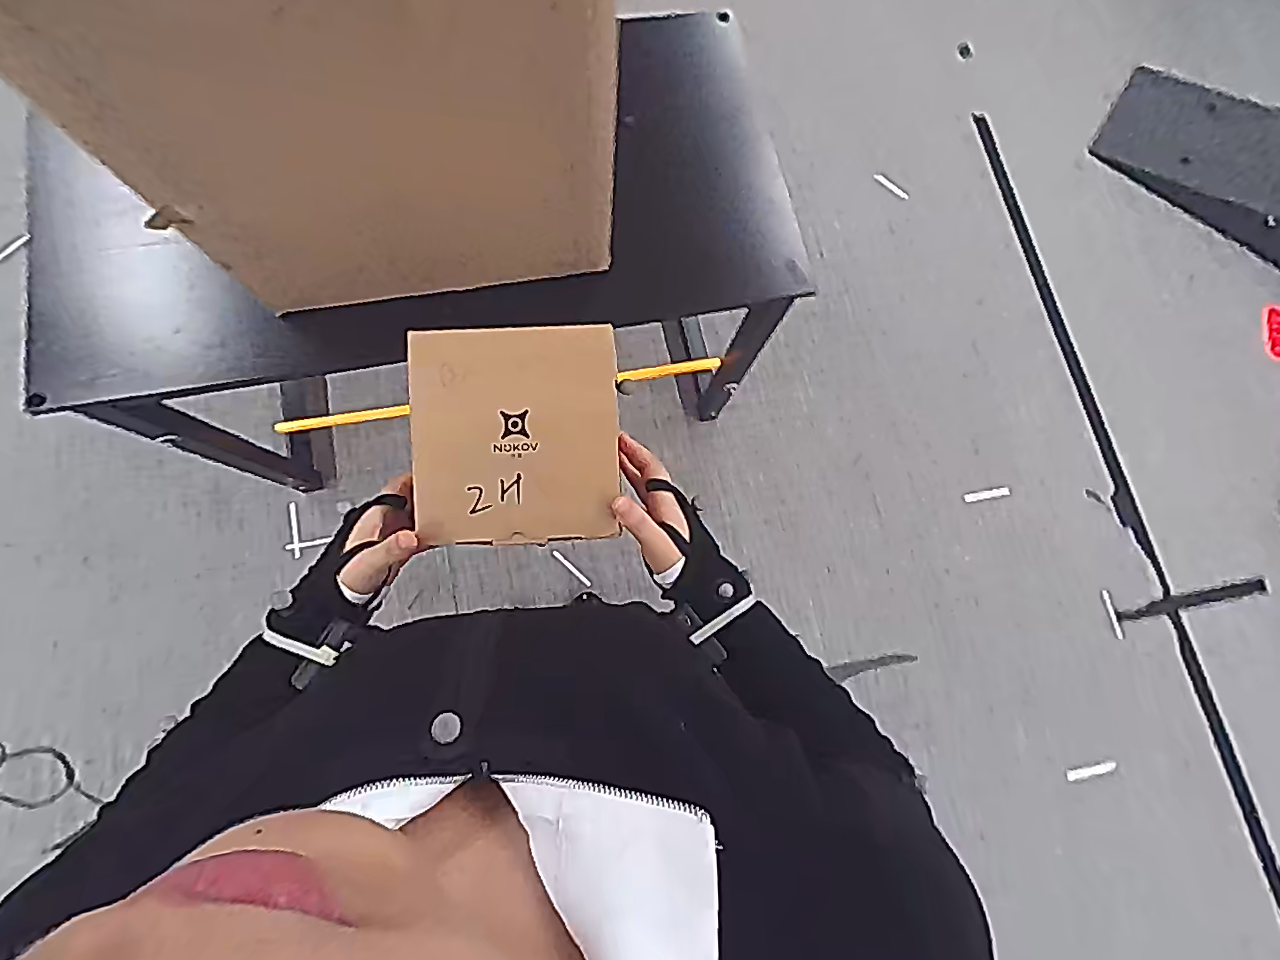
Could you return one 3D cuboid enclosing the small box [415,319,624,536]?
[{"bbox_3d":[-0.100,-0.041,0.514,0.168,0.176,0.179,-1,90,-1],"label":"small box"}]
